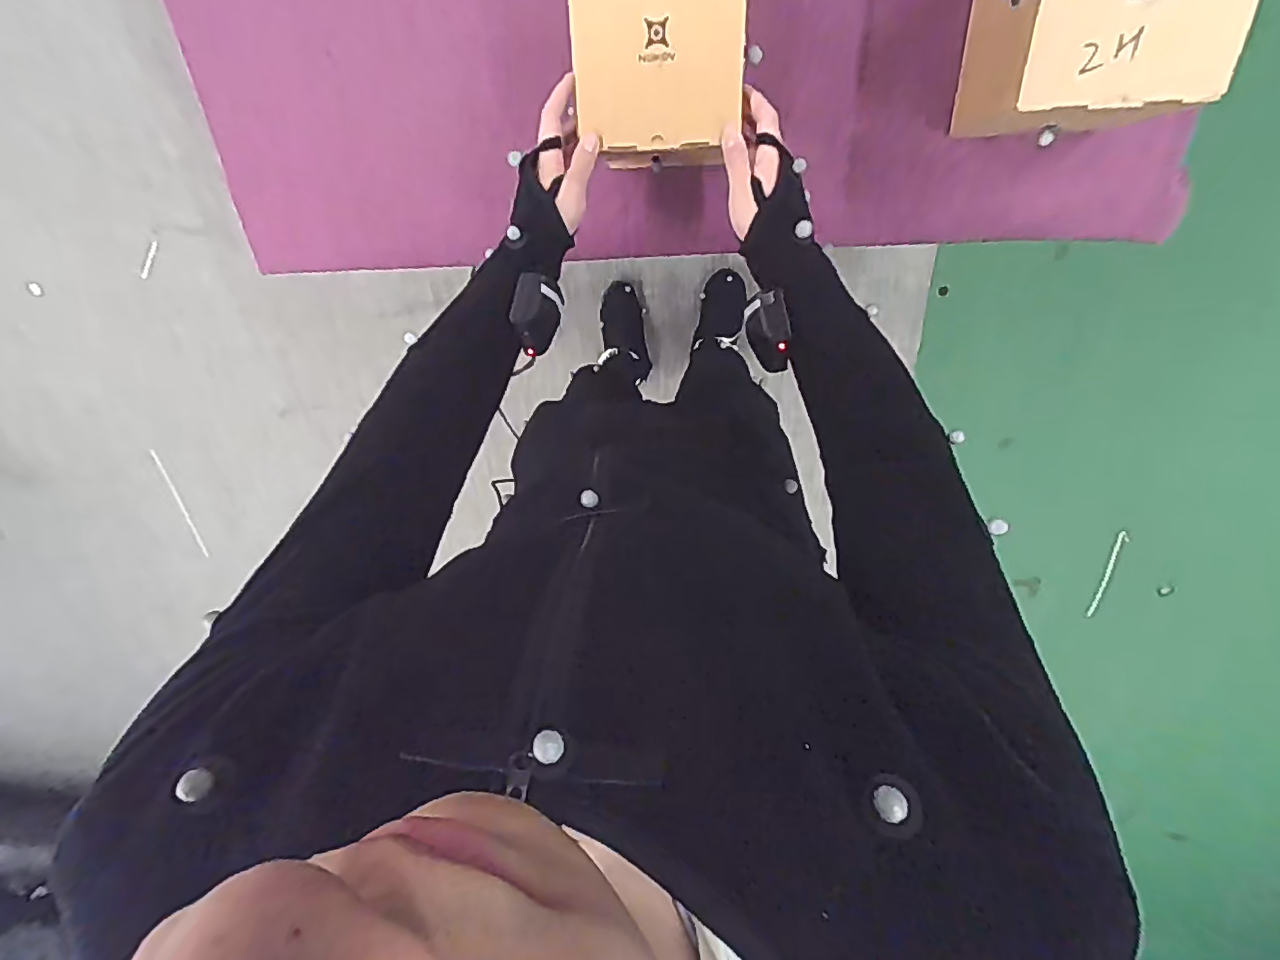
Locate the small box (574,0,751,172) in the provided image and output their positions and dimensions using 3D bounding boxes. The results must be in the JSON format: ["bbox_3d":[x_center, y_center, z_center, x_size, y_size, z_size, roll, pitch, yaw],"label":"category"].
[{"bbox_3d":[0.029,-0.441,0.580,0.168,0.176,0.179,2,116,7],"label":"small box"}]

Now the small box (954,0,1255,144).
[{"bbox_3d":[0.428,-0.437,0.515,0.168,0.176,0.179,3,115,8],"label":"small box"}]
